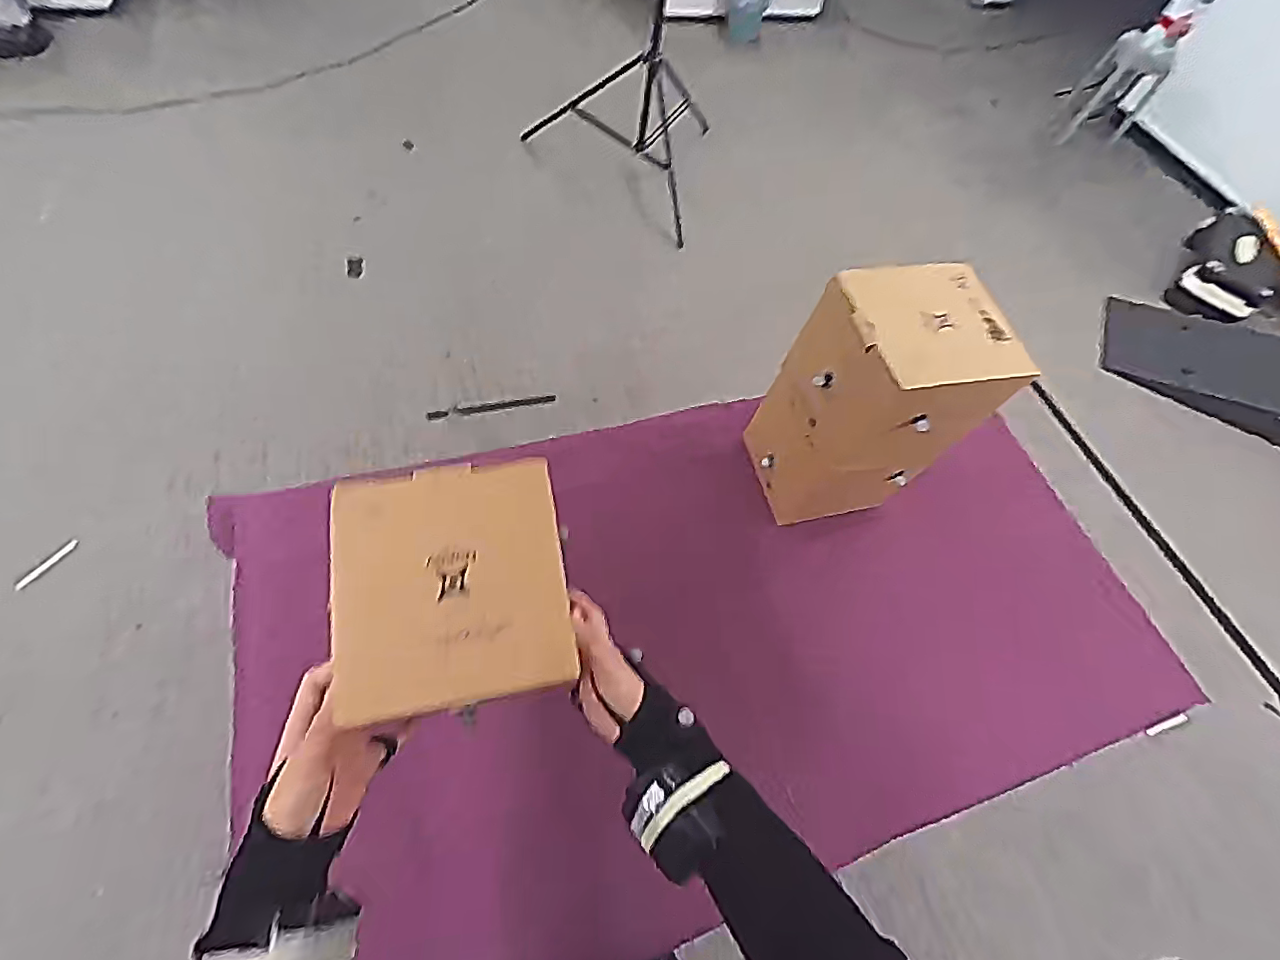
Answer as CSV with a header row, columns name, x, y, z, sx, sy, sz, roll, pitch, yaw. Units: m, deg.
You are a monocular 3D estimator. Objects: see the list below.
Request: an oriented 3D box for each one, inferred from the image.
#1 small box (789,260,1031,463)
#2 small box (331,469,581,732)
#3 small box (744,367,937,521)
name,x,y,z,sx,sy,sz,roll,pitch,yaw
small box,0.298,-0.135,0.649,0.179,0.176,0.168,-9,65,-12
small box,-0.150,0.109,0.469,0.168,0.176,0.179,-7,69,-14
small box,0.278,-0.057,0.792,0.179,0.176,0.168,-10,64,-13
